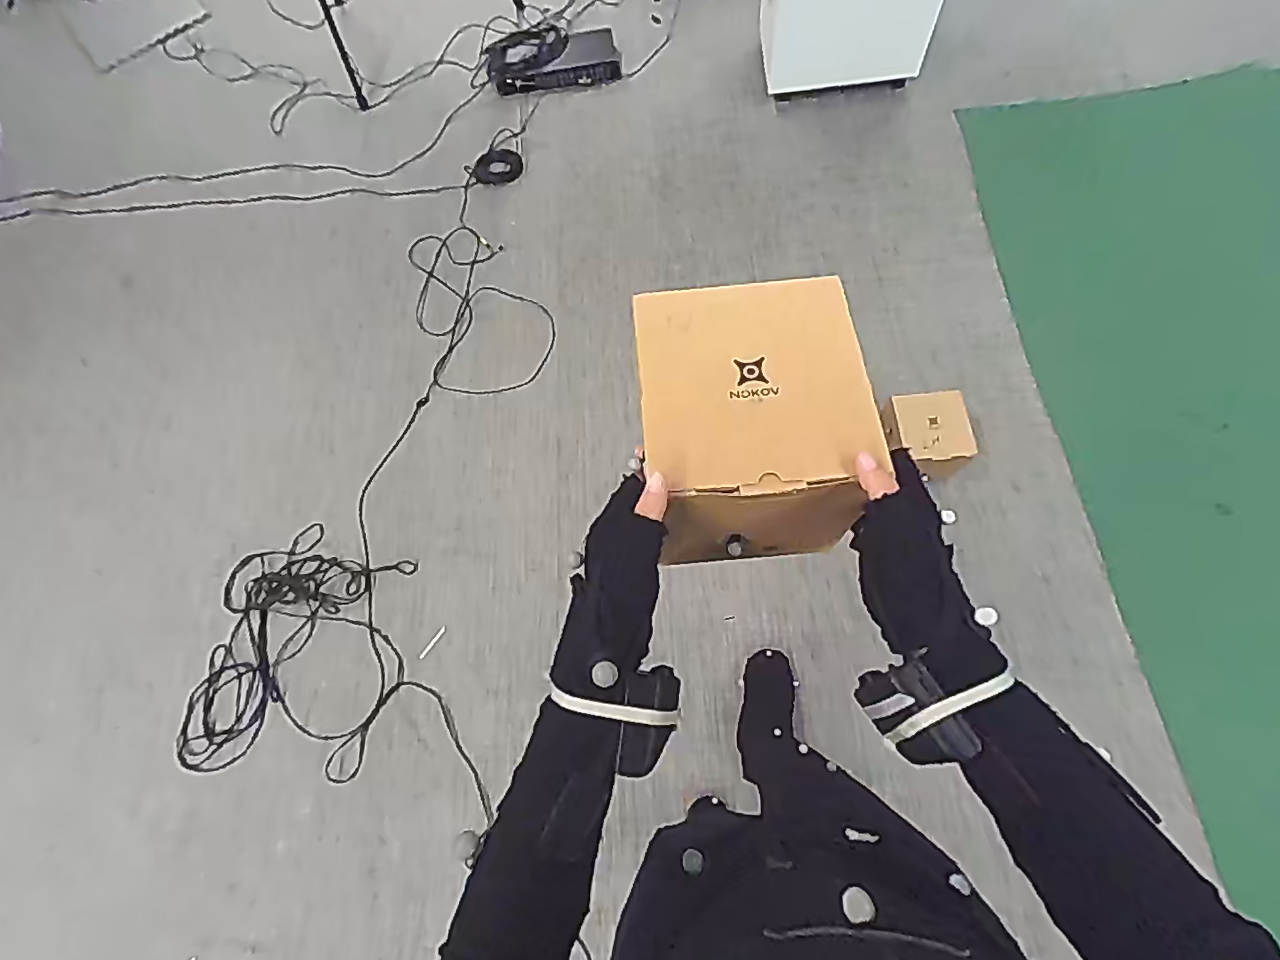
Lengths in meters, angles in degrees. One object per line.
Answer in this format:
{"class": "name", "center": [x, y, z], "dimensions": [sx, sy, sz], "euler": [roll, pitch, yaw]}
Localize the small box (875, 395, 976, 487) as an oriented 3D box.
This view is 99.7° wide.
{"class": "small box", "center": [0.715, -0.095, 1.378], "dimensions": [0.168, 0.176, 0.179], "euler": [-4, 69, 6]}
